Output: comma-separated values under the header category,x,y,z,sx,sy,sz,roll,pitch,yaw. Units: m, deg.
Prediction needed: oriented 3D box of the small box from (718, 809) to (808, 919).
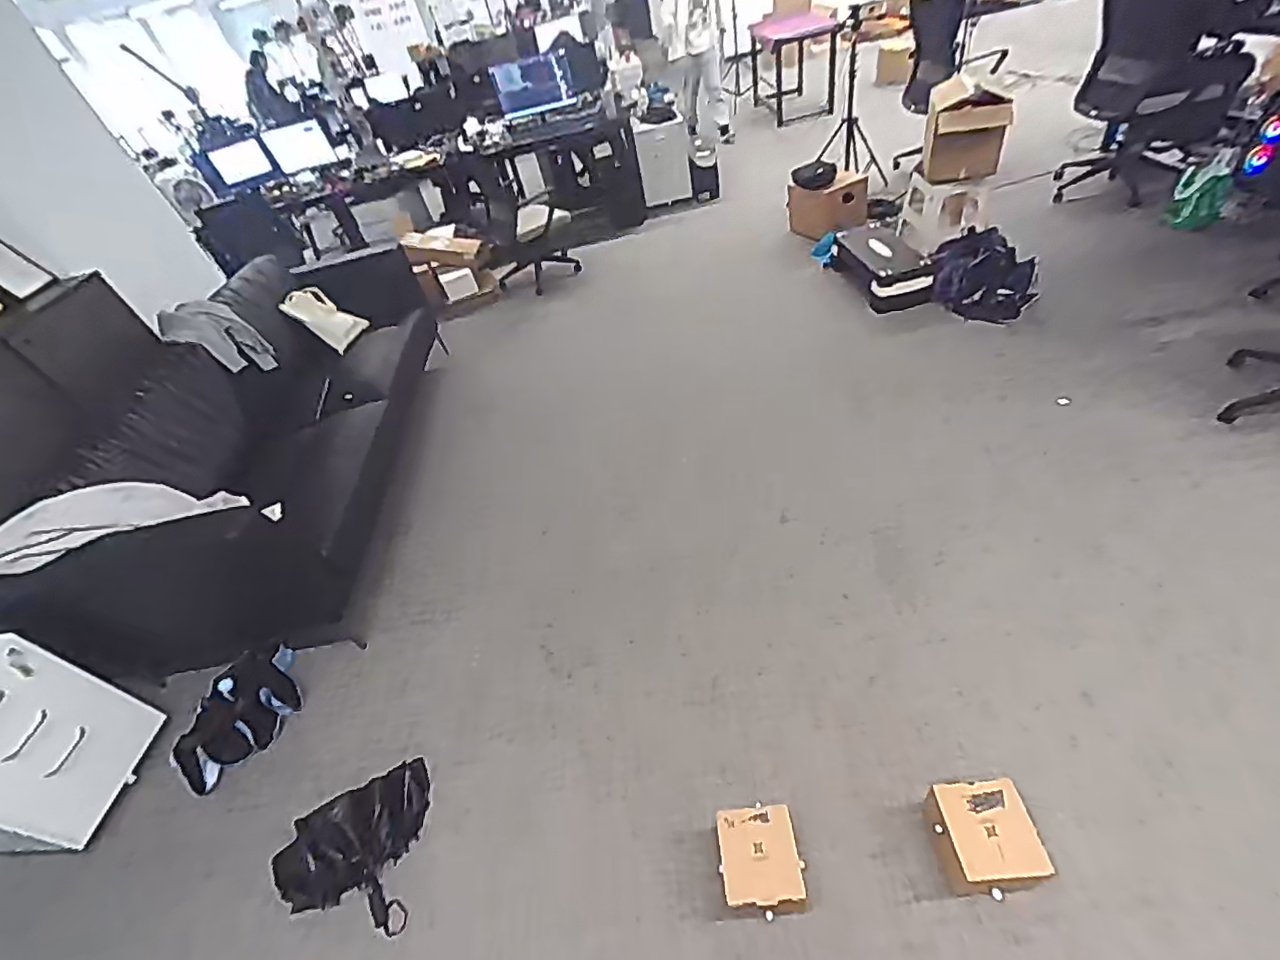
category,x,y,z,sx,sy,sz,roll,pitch,yaw
small box,0.278,0.869,1.219,0.168,0.176,0.179,-10,43,7

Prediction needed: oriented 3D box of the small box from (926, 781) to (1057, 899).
category,x,y,z,sx,sy,sz,roll,pitch,yaw
small box,0.743,0.779,1.168,0.168,0.176,0.179,-11,44,8
